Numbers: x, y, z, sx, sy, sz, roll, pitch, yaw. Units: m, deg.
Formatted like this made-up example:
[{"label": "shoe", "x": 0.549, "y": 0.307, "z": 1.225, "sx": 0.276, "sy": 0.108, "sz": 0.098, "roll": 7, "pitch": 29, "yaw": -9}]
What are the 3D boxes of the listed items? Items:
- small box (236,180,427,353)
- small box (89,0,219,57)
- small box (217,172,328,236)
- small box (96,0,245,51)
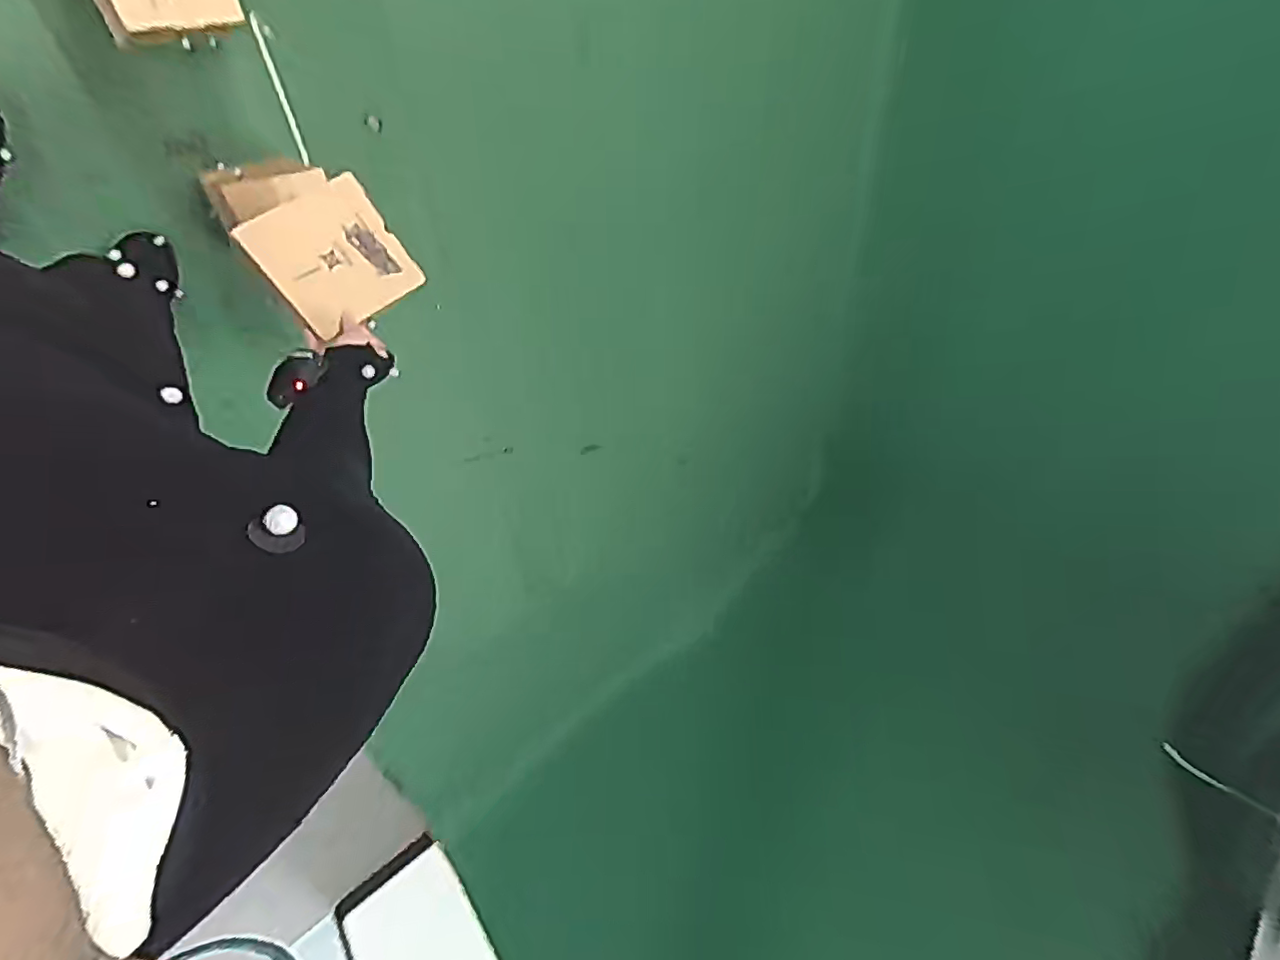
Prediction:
[{"label": "small box", "x": -0.457, "y": -0.307, "z": 0.807, "sx": 0.179, "sy": 0.176, "sz": 0.168, "roll": -44, "pitch": 118, "yaw": -20}, {"label": "small box", "x": -0.865, "y": -0.859, "z": 0.947, "sx": 0.179, "sy": 0.176, "sz": 0.168, "roll": -32, "pitch": 134, "yaw": -28}, {"label": "small box", "x": -0.706, "y": -0.506, "z": 1.080, "sx": 0.179, "sy": 0.176, "sz": 0.168, "roll": -31, "pitch": 134, "yaw": -27}, {"label": "small box", "x": -0.762, "y": -0.790, "z": 0.838, "sx": 0.168, "sy": 0.176, "sz": 0.179, "roll": -32, "pitch": 134, "yaw": -27}]
